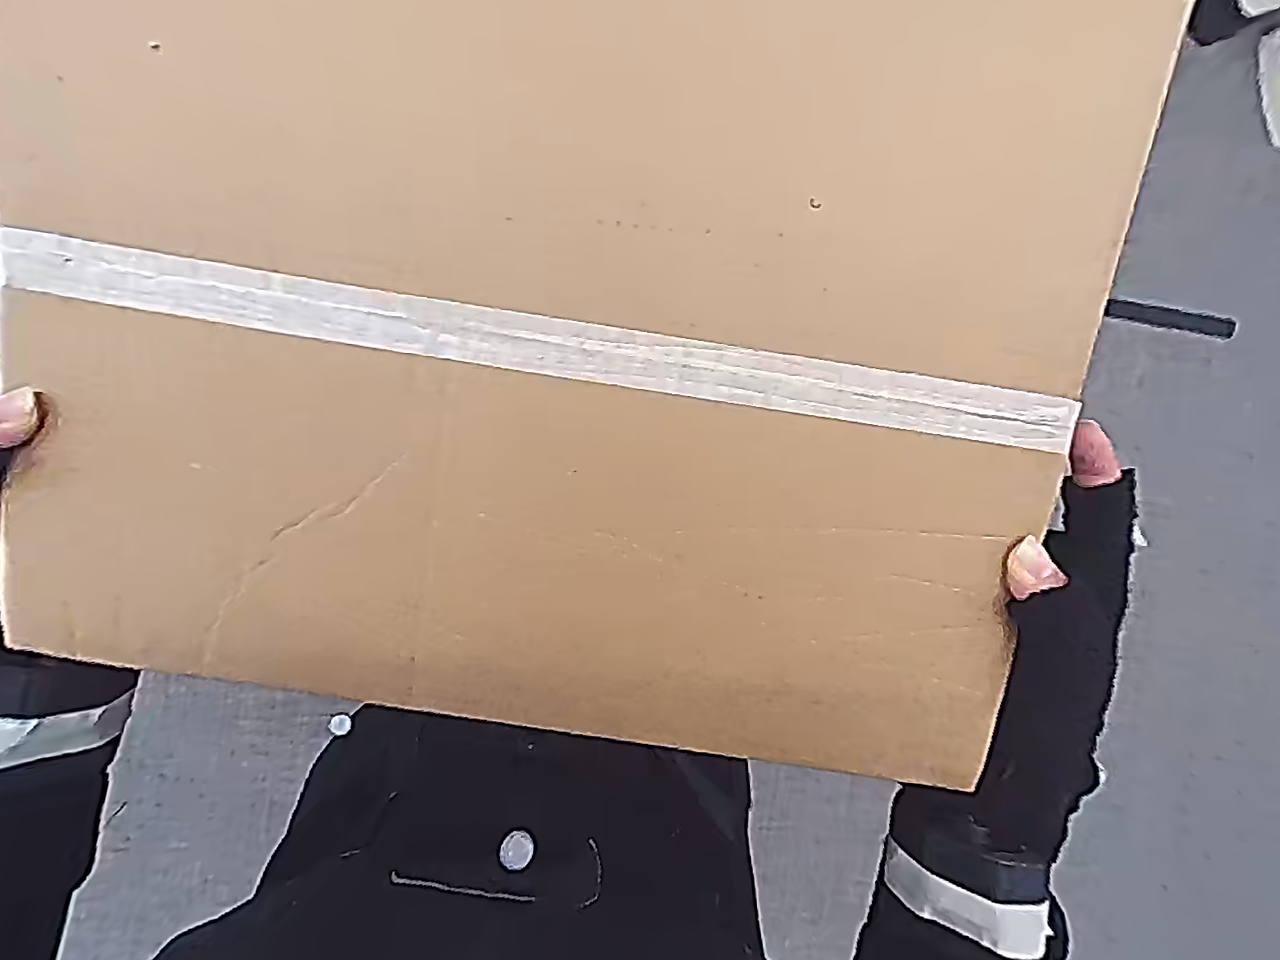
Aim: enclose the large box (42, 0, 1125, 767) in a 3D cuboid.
[{"bbox_3d":[-0.034,-0.067,0.366,0.408,0.320,0.320,9,97,-1],"label":"large box"}]
